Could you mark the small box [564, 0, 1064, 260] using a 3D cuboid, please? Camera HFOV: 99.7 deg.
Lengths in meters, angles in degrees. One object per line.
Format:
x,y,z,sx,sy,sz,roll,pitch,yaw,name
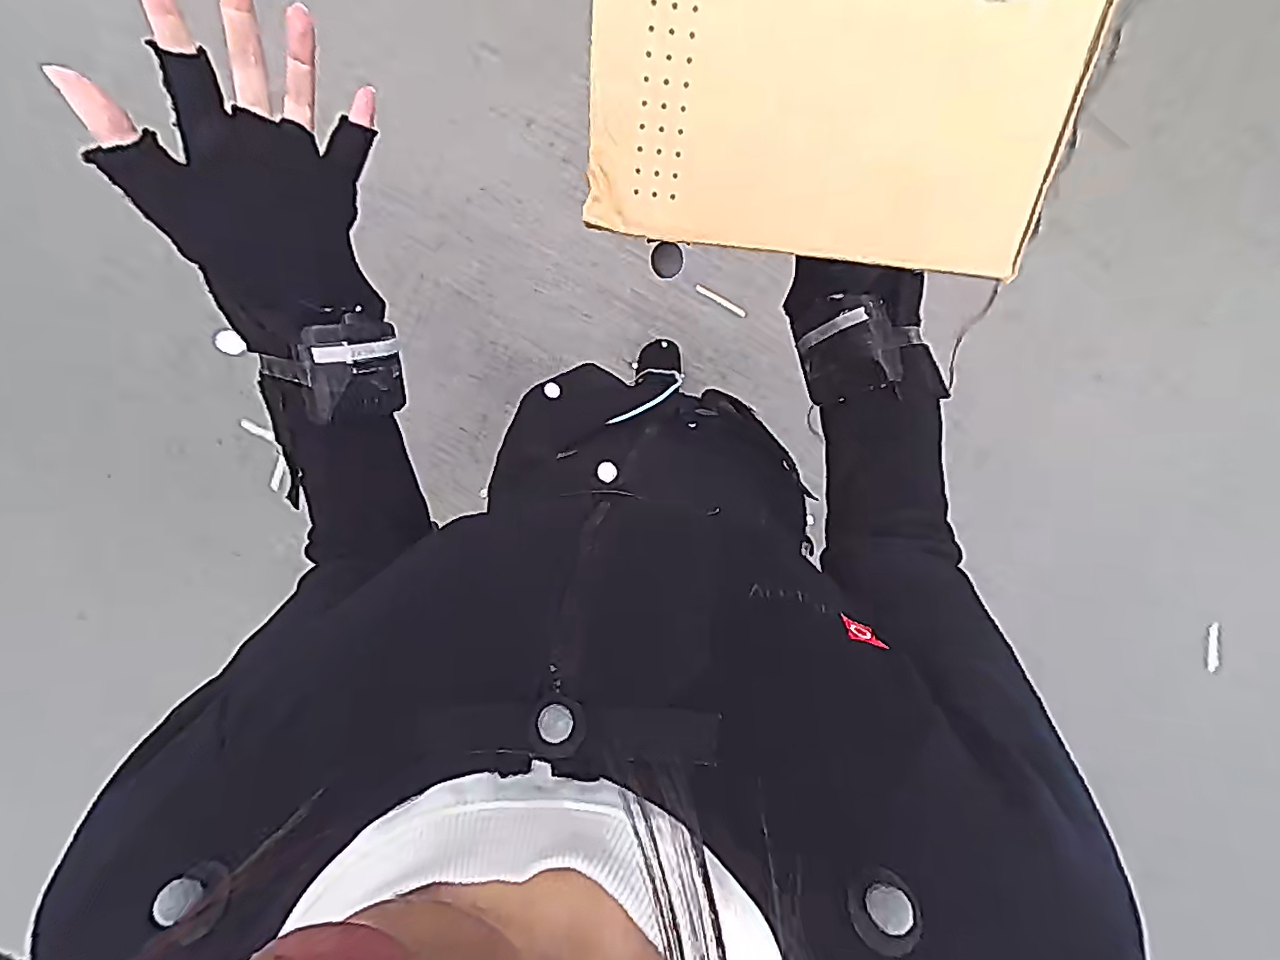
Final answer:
0.053,-0.202,0.244,0.176,0.168,0.179,3,115,-5,small box
